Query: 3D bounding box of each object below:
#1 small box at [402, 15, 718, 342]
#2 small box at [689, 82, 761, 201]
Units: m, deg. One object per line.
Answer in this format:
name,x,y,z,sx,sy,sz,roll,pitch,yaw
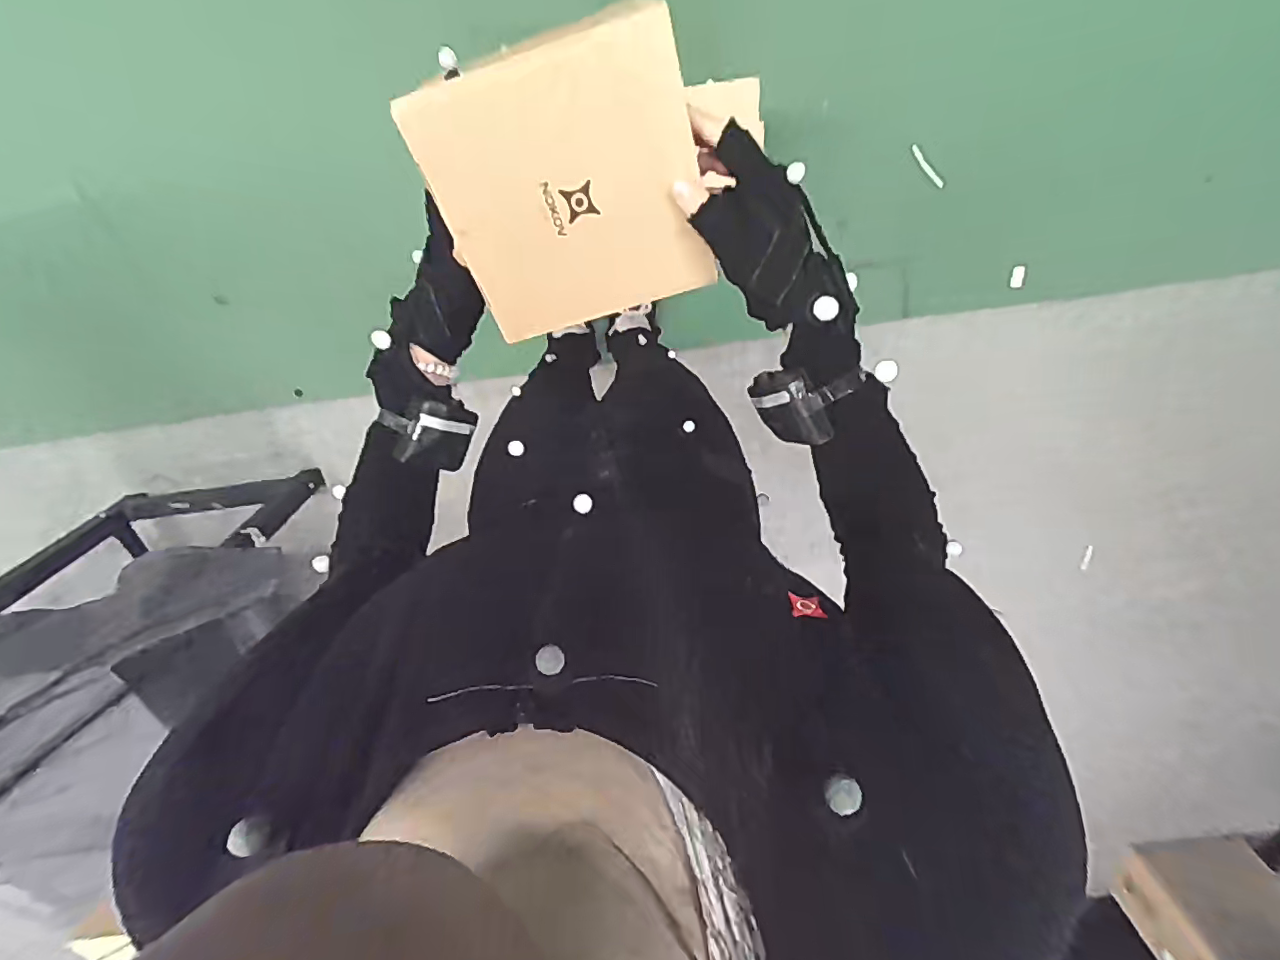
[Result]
small box,-0.050,-0.240,0.428,0.179,0.176,0.168,-14,131,7
small box,0.113,-0.602,0.982,0.179,0.176,0.168,-8,118,1
